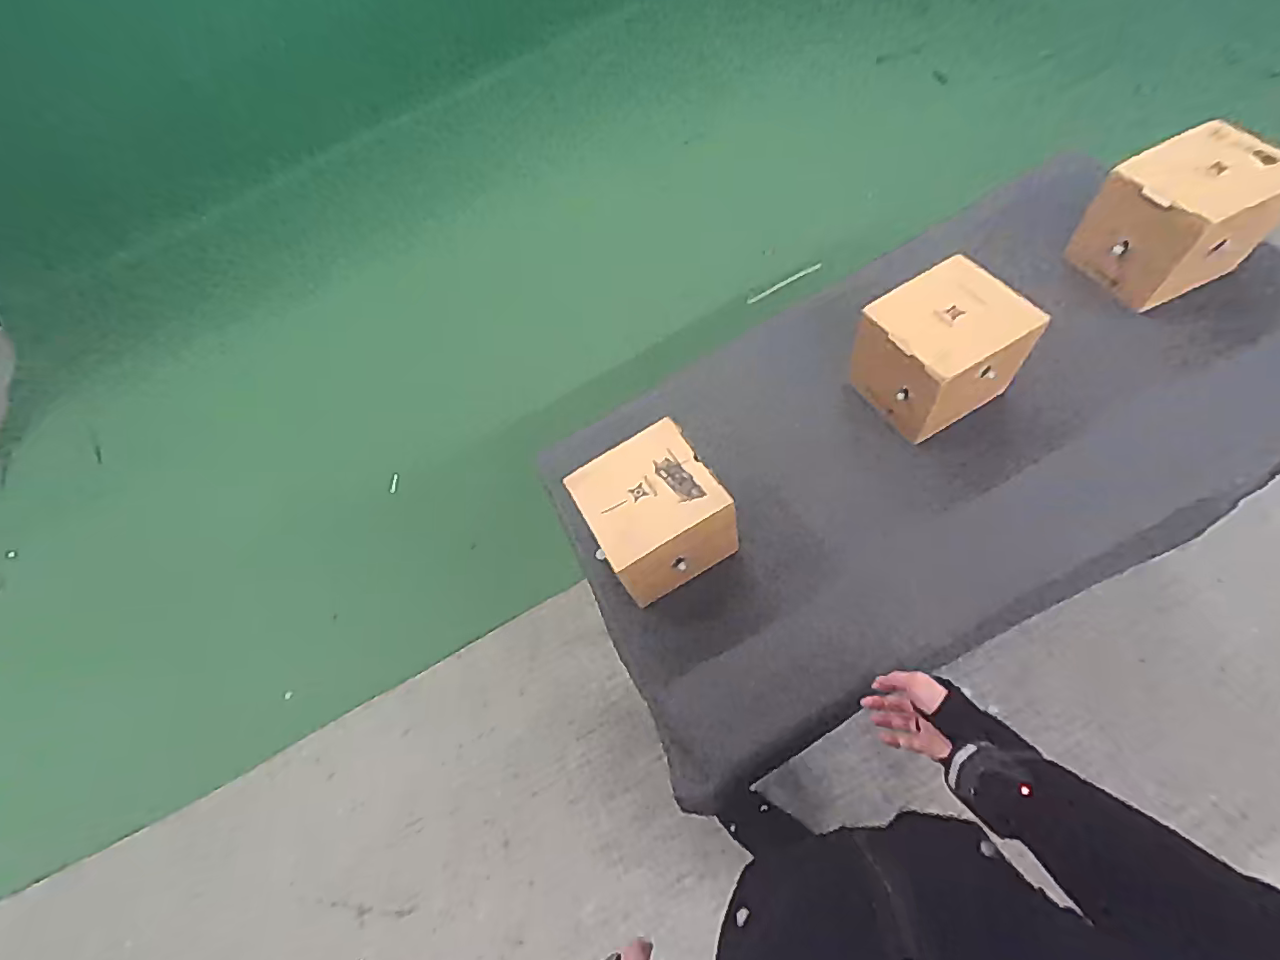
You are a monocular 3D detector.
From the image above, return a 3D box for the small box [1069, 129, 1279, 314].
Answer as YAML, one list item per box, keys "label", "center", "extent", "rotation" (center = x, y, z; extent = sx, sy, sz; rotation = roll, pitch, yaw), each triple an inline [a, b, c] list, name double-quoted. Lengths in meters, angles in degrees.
- label: "small box"
  center: [0.826, -0.396, 0.847]
  extent: [0.179, 0.176, 0.168]
  rotation: [-25, 60, -1]

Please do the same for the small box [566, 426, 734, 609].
- label: "small box"
  center: [0.022, 0.060, 0.785]
  extent: [0.179, 0.176, 0.168]
  rotation: [-31, 59, -4]

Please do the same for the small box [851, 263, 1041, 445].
- label: "small box"
  center: [0.444, -0.184, 0.825]
  extent: [0.179, 0.176, 0.168]
  rotation: [-30, 61, -6]
